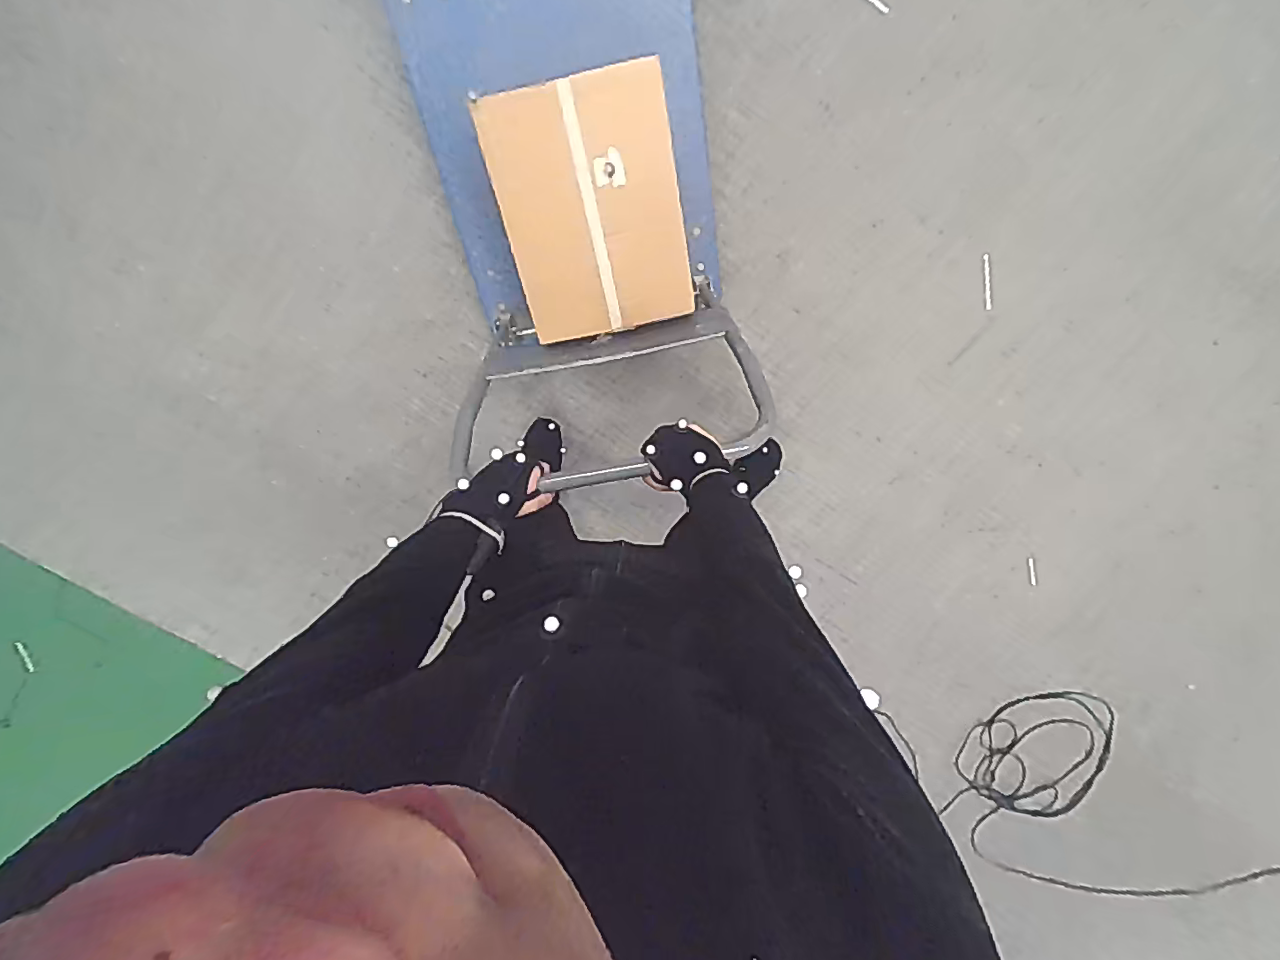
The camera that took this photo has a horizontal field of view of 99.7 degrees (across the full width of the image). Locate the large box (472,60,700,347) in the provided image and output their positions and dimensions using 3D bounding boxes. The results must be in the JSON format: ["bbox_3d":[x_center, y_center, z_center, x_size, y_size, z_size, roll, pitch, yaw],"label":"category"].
[{"bbox_3d":[-0.081,-0.527,1.073,0.320,0.320,0.408,-12,119,3],"label":"large box"}]
